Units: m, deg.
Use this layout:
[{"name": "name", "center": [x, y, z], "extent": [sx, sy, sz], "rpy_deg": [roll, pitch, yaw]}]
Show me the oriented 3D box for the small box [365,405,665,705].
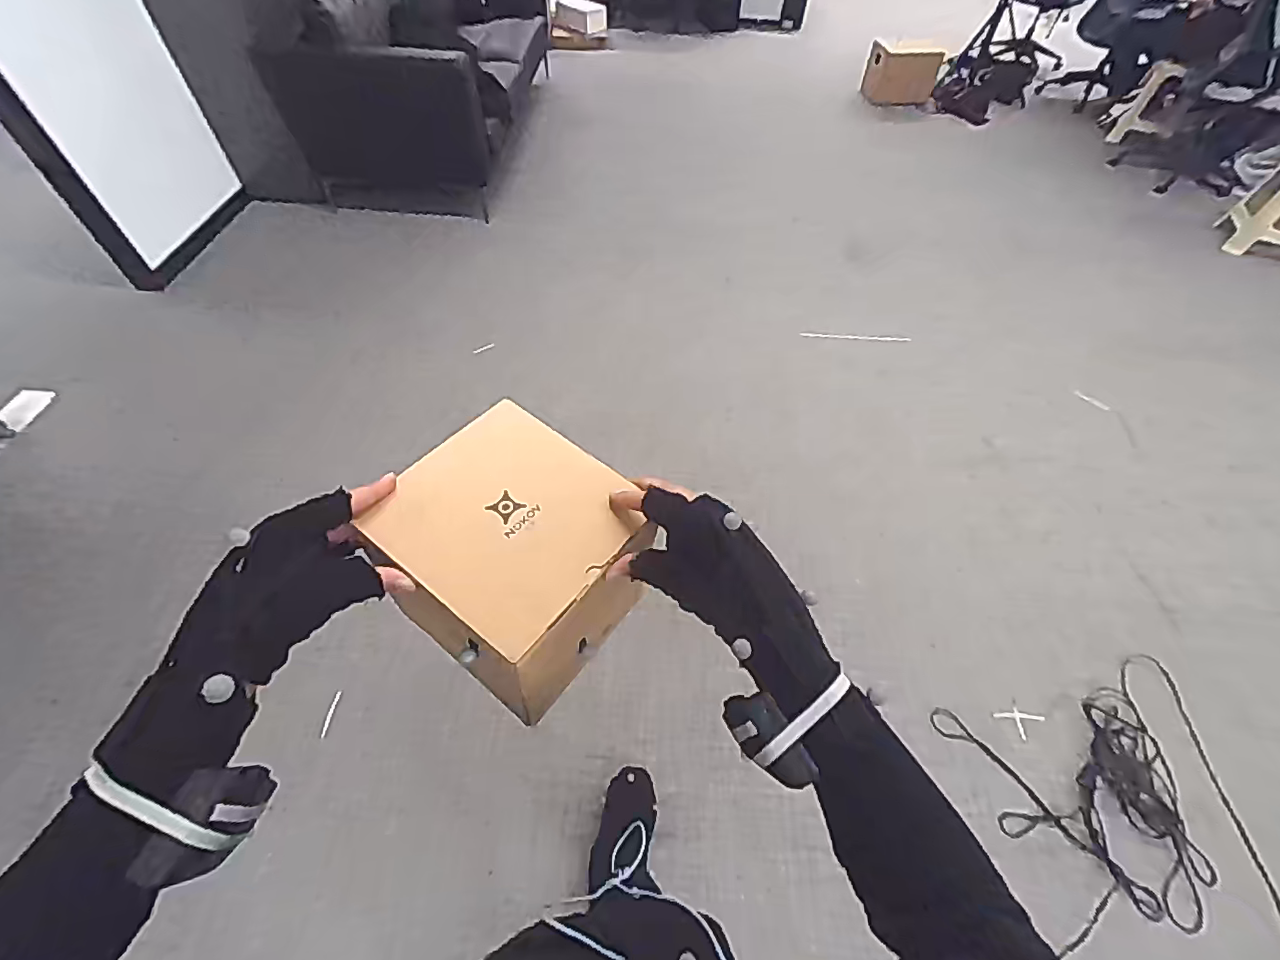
[{"name": "small box", "center": [-0.104, 0.072, 0.489], "extent": [0.179, 0.176, 0.168], "rpy_deg": [35, 57, 16]}]
